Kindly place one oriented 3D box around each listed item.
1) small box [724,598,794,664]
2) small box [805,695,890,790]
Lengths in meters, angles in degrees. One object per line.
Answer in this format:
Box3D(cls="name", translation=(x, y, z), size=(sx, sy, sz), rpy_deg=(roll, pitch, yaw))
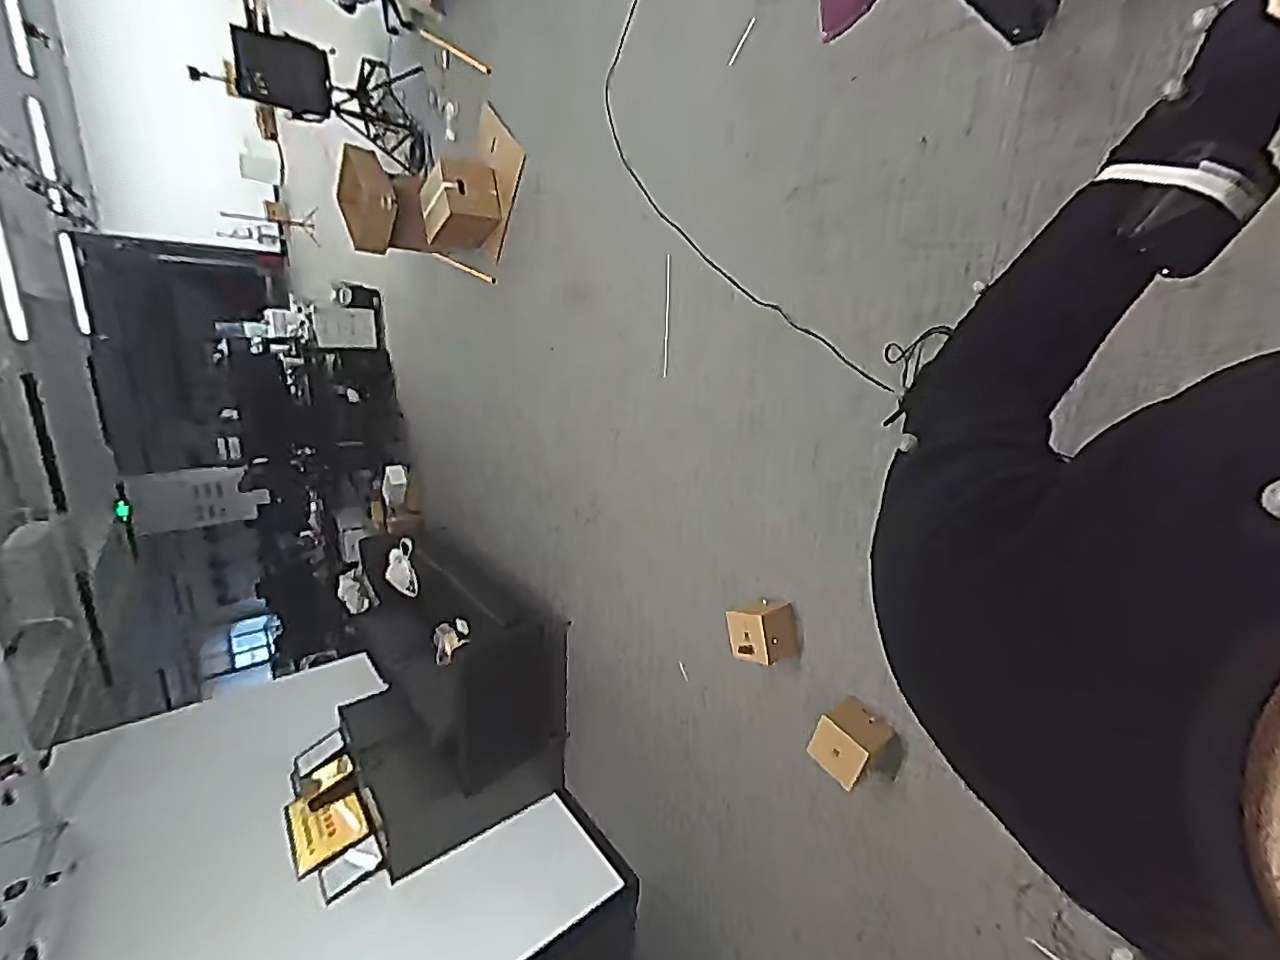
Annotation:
Box3D(cls="small box", translation=(0.431, 0.536, 1.939), size=(0.168, 0.176, 0.179), rpy_deg=(-9, 91, 52))
Box3D(cls="small box", translation=(0.659, 0.824, 1.710), size=(0.168, 0.176, 0.179), rpy_deg=(36, 125, 42))
